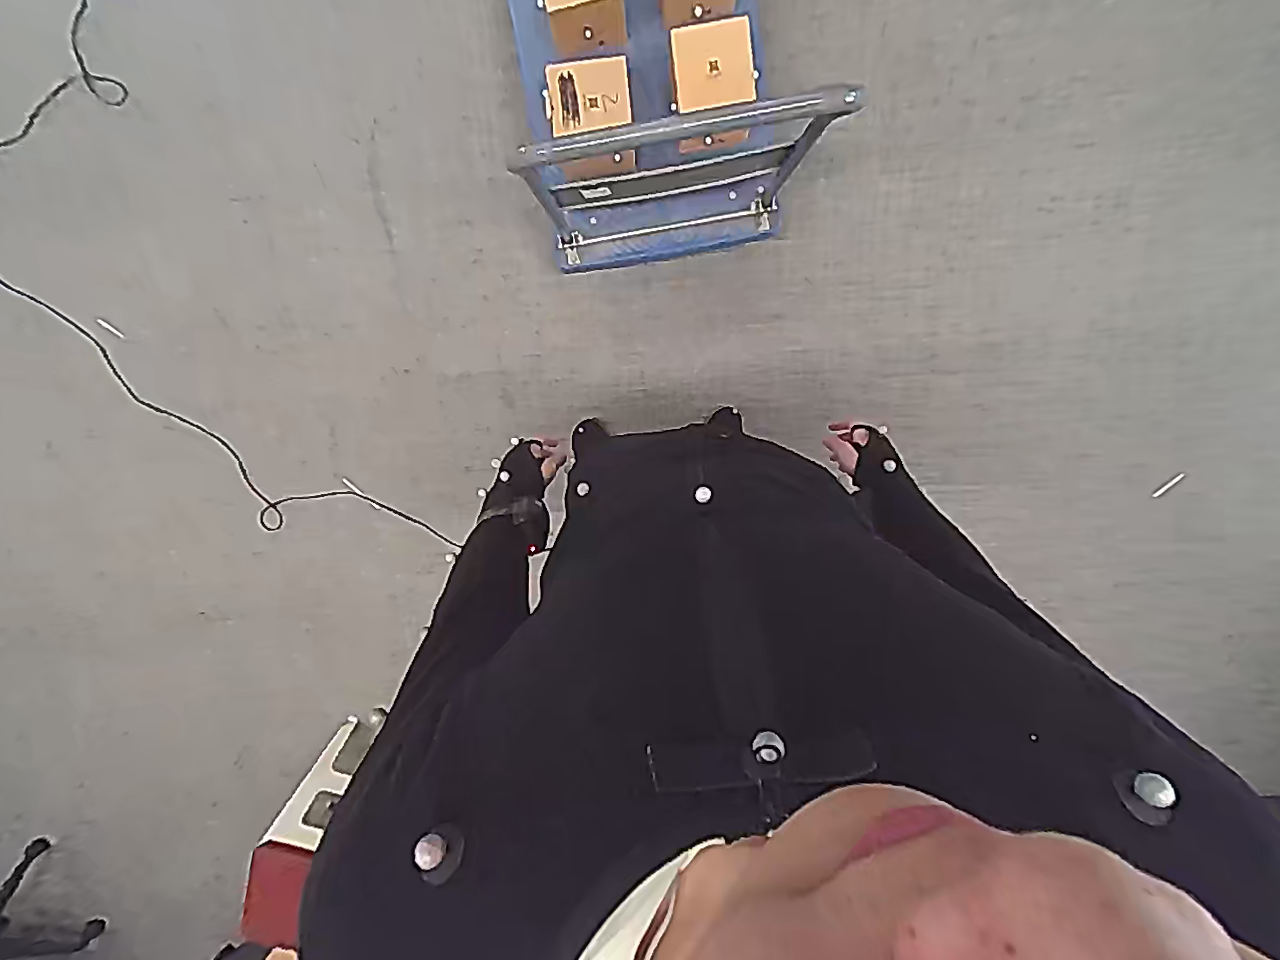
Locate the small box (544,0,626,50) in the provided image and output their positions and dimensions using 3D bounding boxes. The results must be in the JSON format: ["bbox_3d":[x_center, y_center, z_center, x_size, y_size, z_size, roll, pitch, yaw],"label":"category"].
[{"bbox_3d":[-0.129,-1.090,1.186,0.168,0.176,0.179,-12,99,4],"label":"small box"}]

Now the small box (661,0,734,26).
[{"bbox_3d":[0.118,-1.144,1.167,0.168,0.176,0.179,-12,100,5],"label":"small box"}]

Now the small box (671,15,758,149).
[{"bbox_3d":[0.160,-0.881,1.213,0.168,0.176,0.179,-8,100,3],"label":"small box"}]
